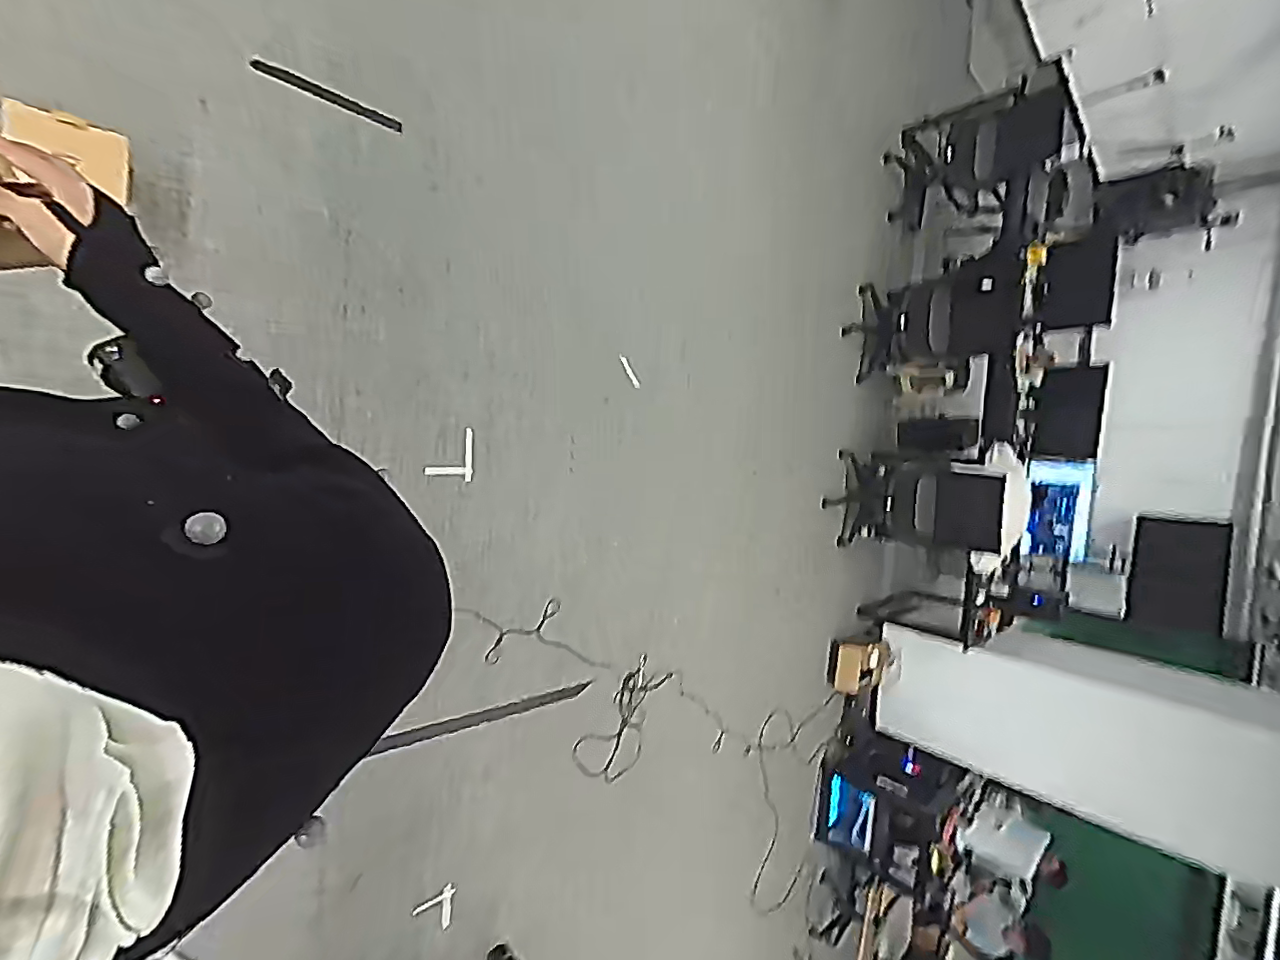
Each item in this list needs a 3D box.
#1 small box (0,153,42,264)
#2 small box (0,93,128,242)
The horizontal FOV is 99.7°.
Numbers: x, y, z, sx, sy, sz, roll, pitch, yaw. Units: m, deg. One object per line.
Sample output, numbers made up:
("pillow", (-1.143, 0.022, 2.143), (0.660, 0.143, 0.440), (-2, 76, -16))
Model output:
("small box", (-0.658, -0.286, 0.442), (0.168, 0.176, 0.179), (-26, 107, -35))
("small box", (-1.125, -0.598, 1.061), (0.168, 0.176, 0.179), (2, 93, -43))
